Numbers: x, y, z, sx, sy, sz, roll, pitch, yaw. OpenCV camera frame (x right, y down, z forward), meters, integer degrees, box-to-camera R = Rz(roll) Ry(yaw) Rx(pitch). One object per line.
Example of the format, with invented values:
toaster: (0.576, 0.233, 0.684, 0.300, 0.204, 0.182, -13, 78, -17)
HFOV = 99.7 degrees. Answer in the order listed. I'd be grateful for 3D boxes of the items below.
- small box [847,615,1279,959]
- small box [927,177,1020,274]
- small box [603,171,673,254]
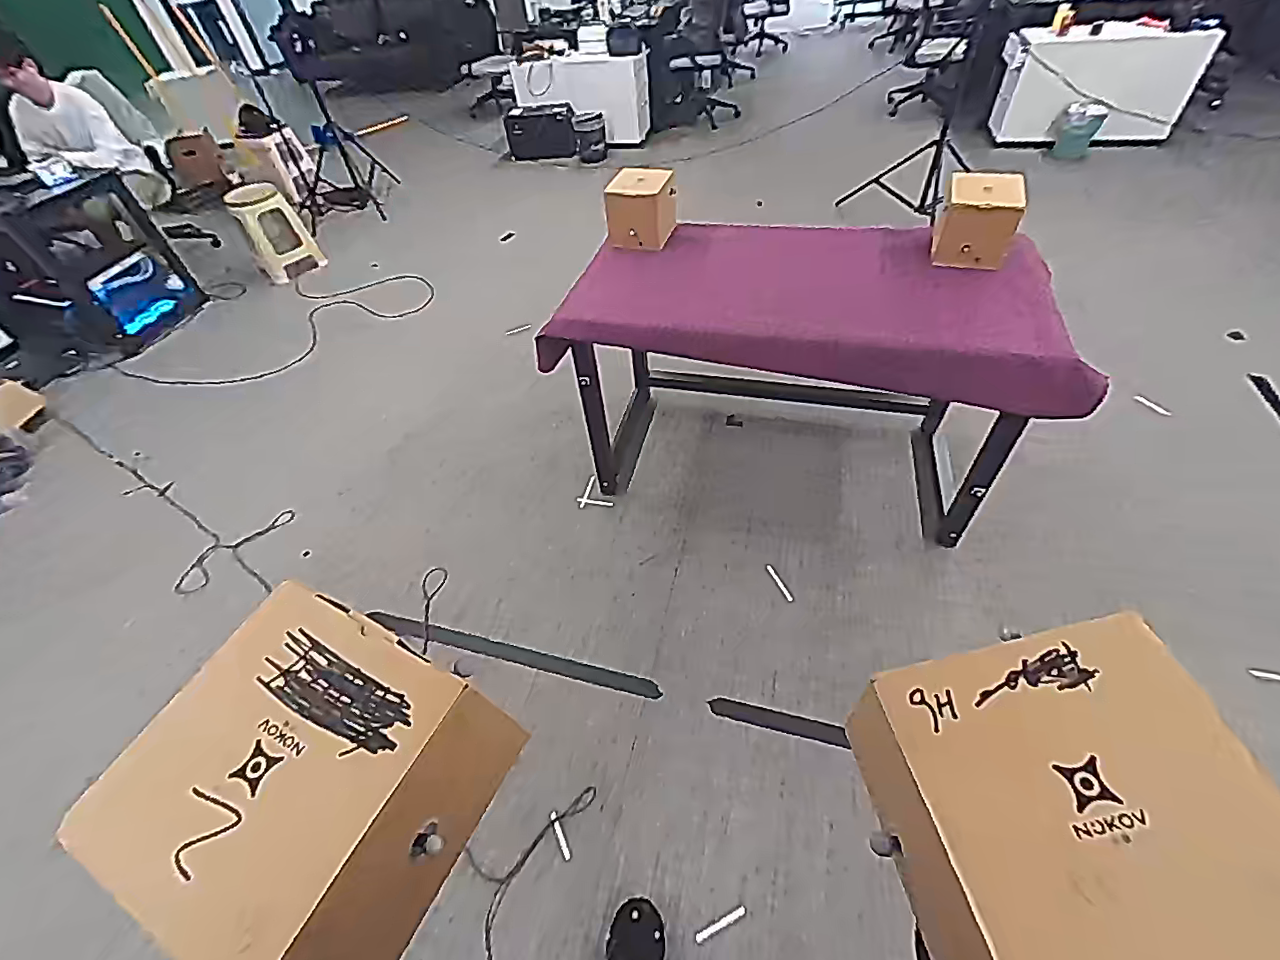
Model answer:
small box: (0.254, 0.214, 0.354, 0.168, 0.176, 0.179, -15, 55, 3)
small box: (0.877, -0.676, 1.436, 0.168, 0.176, 0.179, 12, 55, 16)
small box: (-0.001, -0.818, 1.654, 0.168, 0.176, 0.179, 12, 52, 16)
